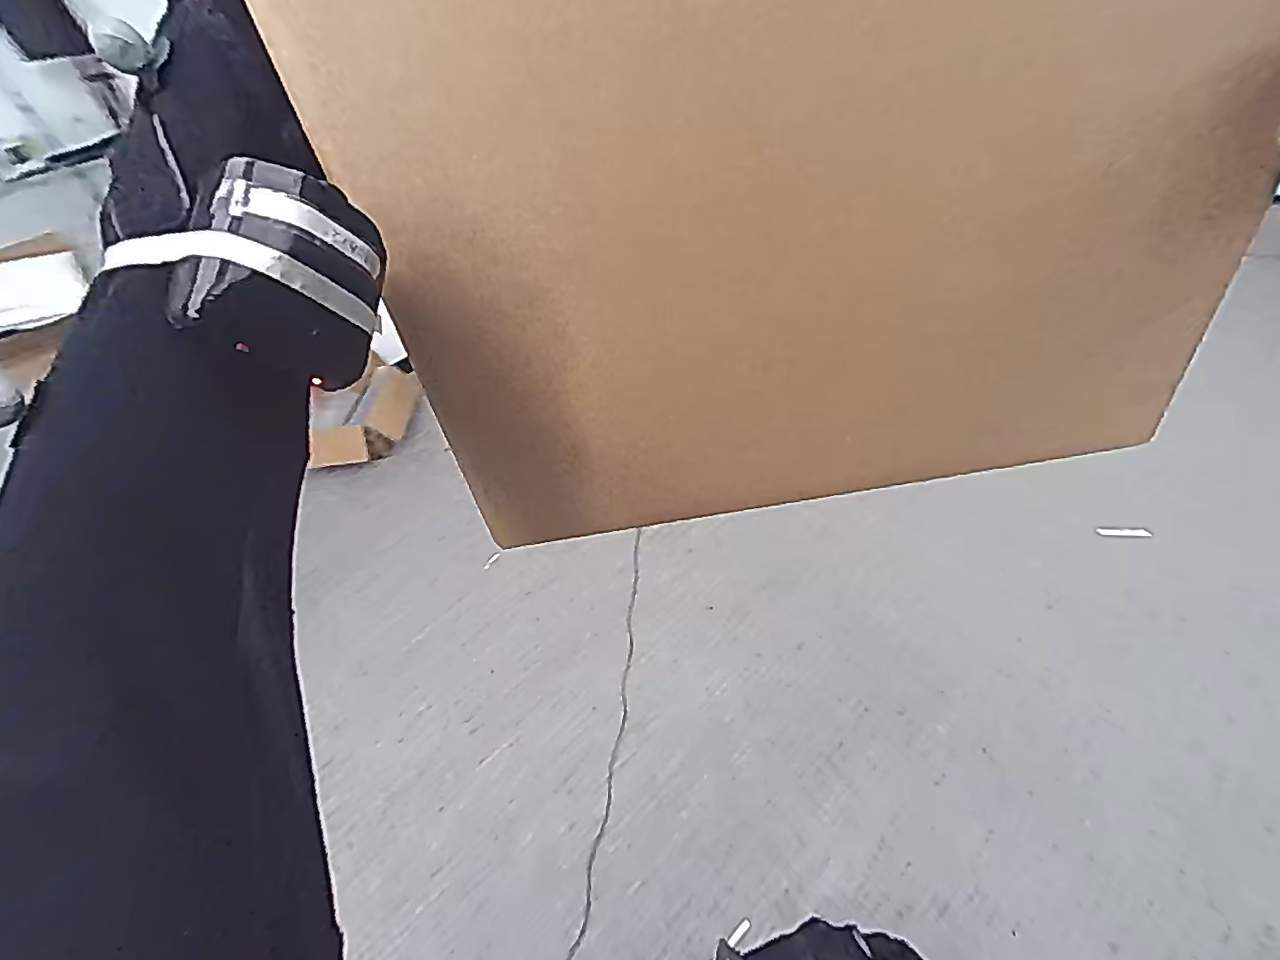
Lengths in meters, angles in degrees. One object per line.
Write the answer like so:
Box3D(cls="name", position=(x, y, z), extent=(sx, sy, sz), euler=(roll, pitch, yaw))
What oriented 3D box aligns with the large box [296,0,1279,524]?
Box3D(cls="large box", position=(0.075, -0.204, 0.365), extent=(0.408, 0.320, 0.320), euler=(-8, 38, 2))
